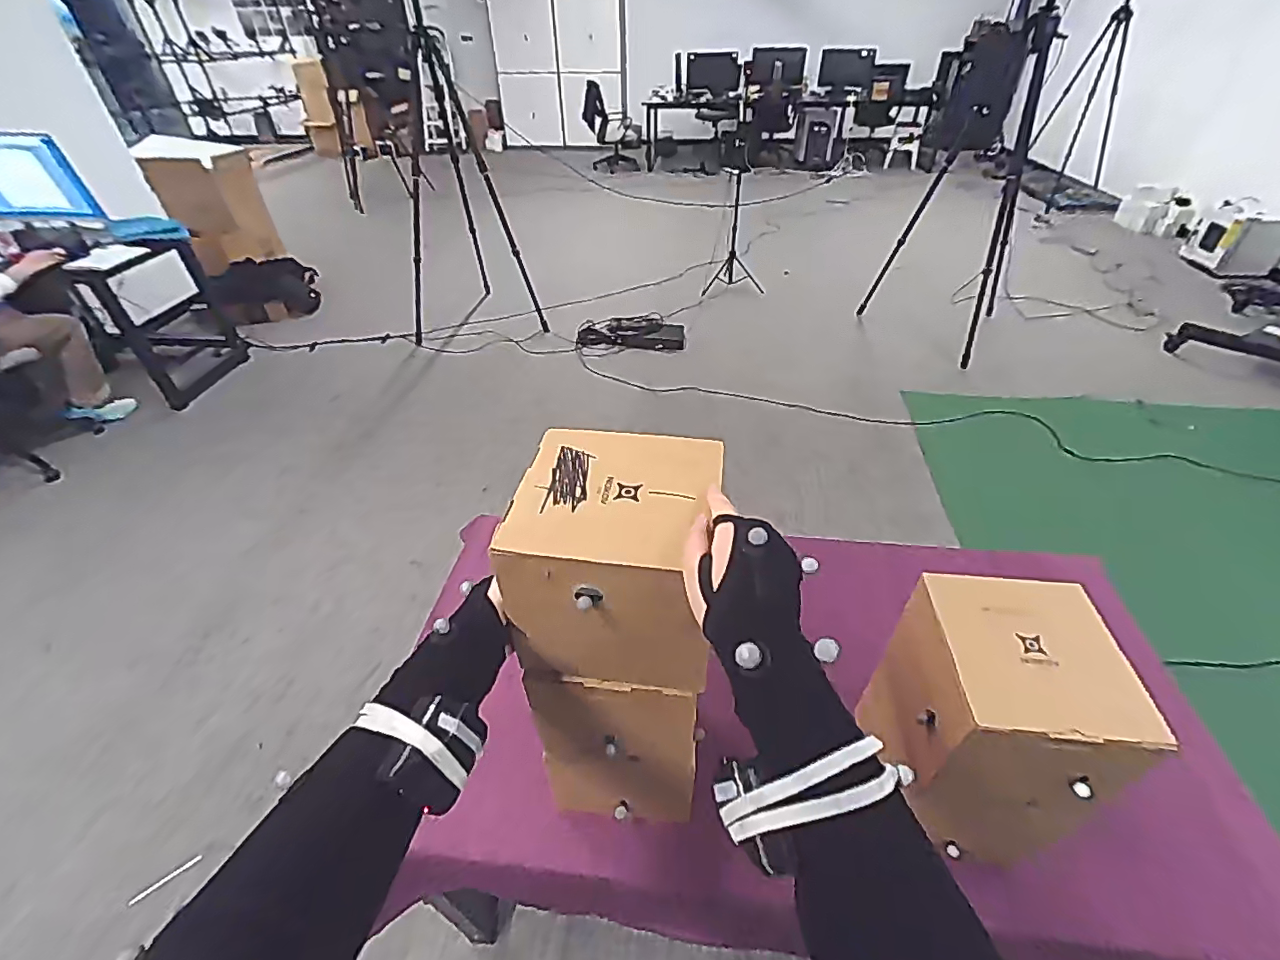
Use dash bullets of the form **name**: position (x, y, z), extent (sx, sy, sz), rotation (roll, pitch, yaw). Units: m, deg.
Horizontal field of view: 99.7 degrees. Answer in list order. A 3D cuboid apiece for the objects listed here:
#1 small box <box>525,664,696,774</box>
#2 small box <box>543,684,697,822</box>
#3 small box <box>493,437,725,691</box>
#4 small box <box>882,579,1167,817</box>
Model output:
- **small box**: position (-0.019, 0.204, 0.620), extent (0.168, 0.176, 0.179), rotation (3, 41, 6)
- **small box**: position (-0.018, 0.334, 0.723), extent (0.179, 0.176, 0.168), rotation (3, 40, 4)
- **small box**: position (-0.016, 0.078, 0.514), extent (0.179, 0.176, 0.168), rotation (5, 40, 6)
- **small box**: position (0.380, 0.232, 0.579), extent (0.168, 0.176, 0.179), rotation (4, 40, 6)
